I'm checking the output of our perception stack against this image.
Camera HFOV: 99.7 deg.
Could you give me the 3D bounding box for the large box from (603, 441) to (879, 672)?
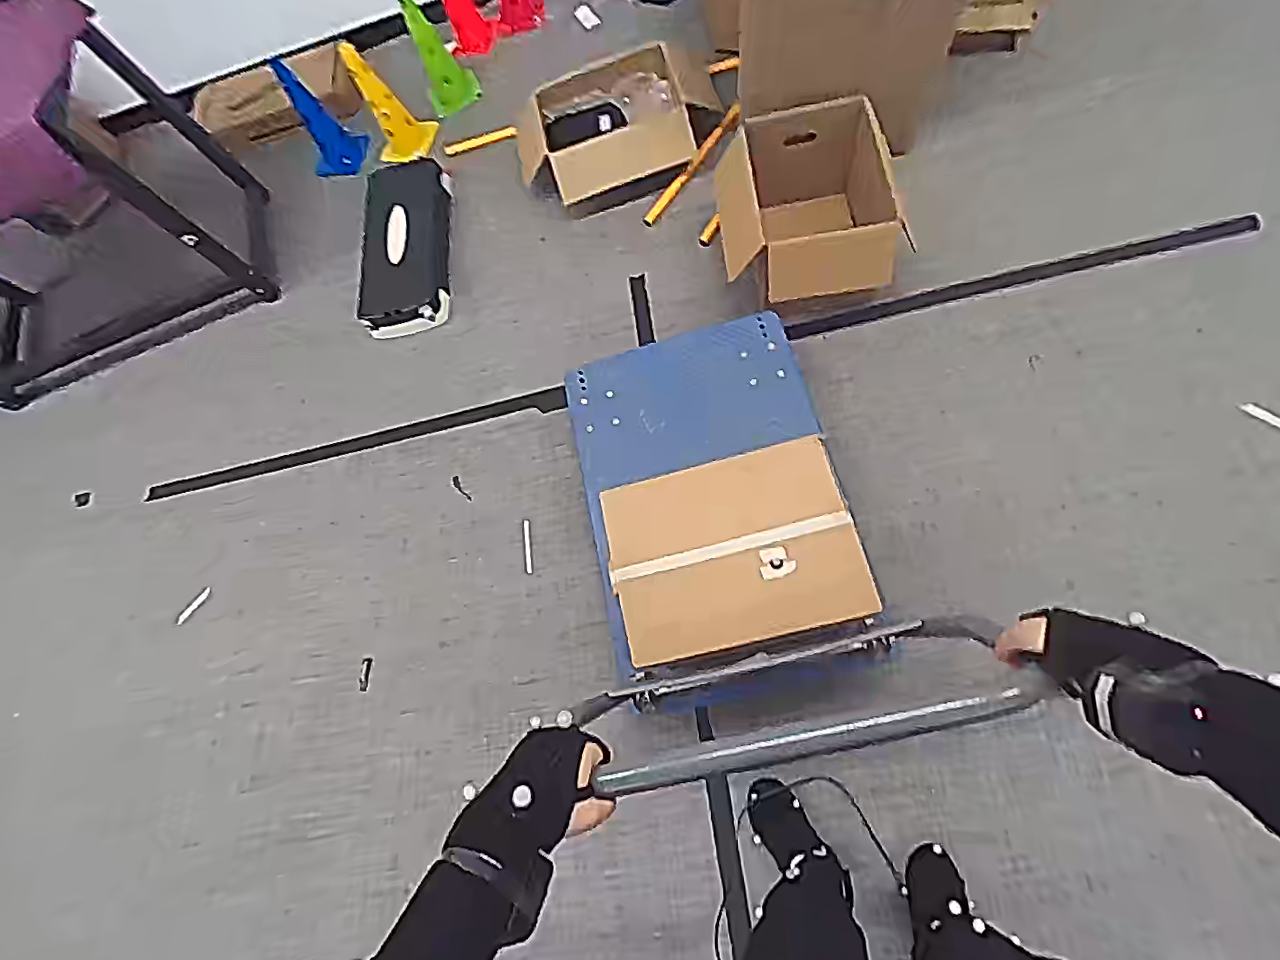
[{"bbox_3d":[0.178,0.169,1.052,0.408,0.320,0.320,-15,70,5],"label":"large box"}]
